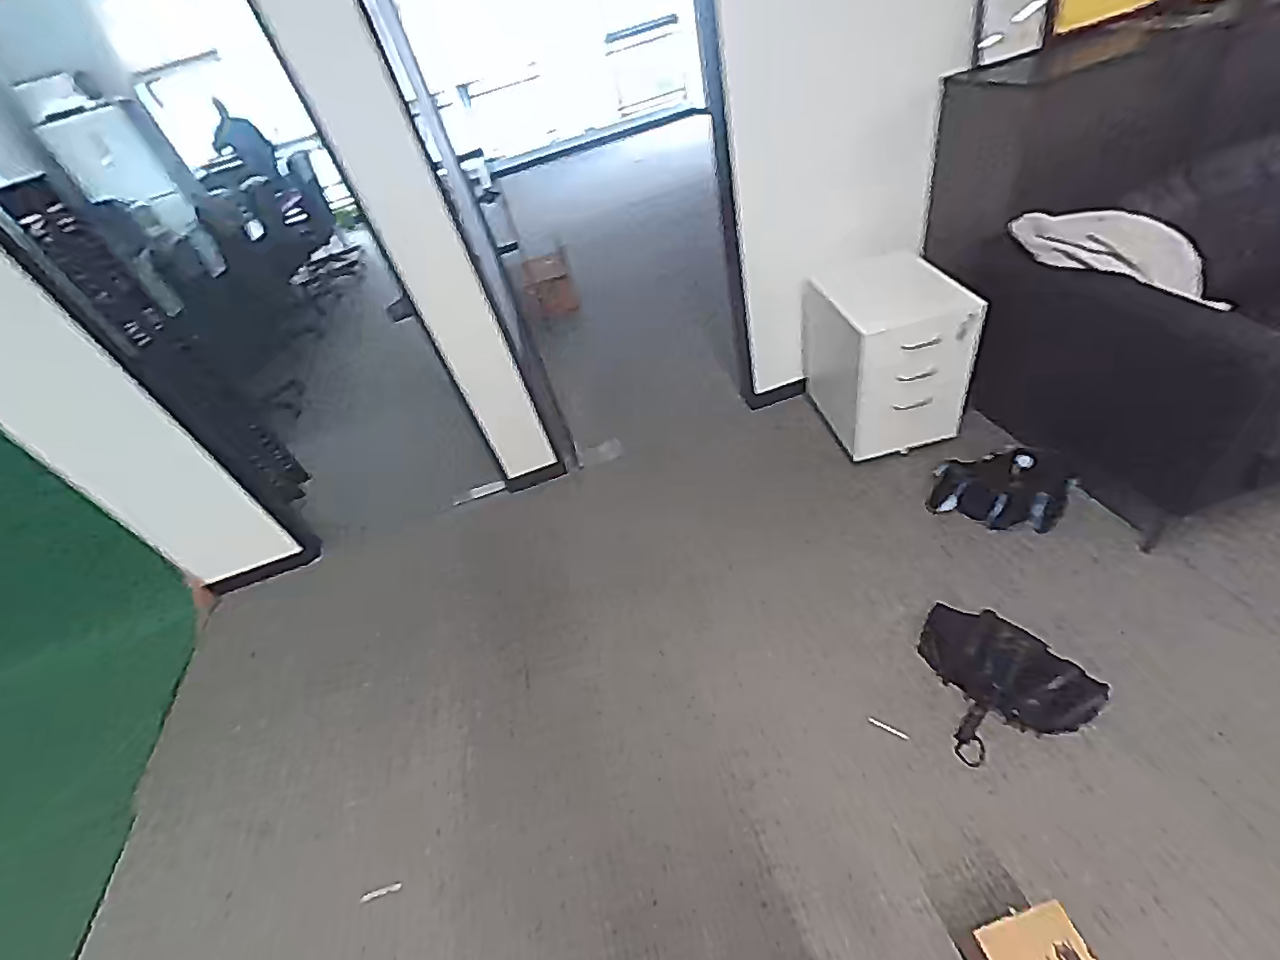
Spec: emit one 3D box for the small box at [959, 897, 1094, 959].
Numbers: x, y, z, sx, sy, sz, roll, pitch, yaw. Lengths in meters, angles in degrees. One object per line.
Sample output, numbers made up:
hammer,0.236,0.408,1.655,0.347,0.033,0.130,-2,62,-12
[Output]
small box,0.743,0.929,1.026,0.179,0.176,0.168,-20,41,-1
